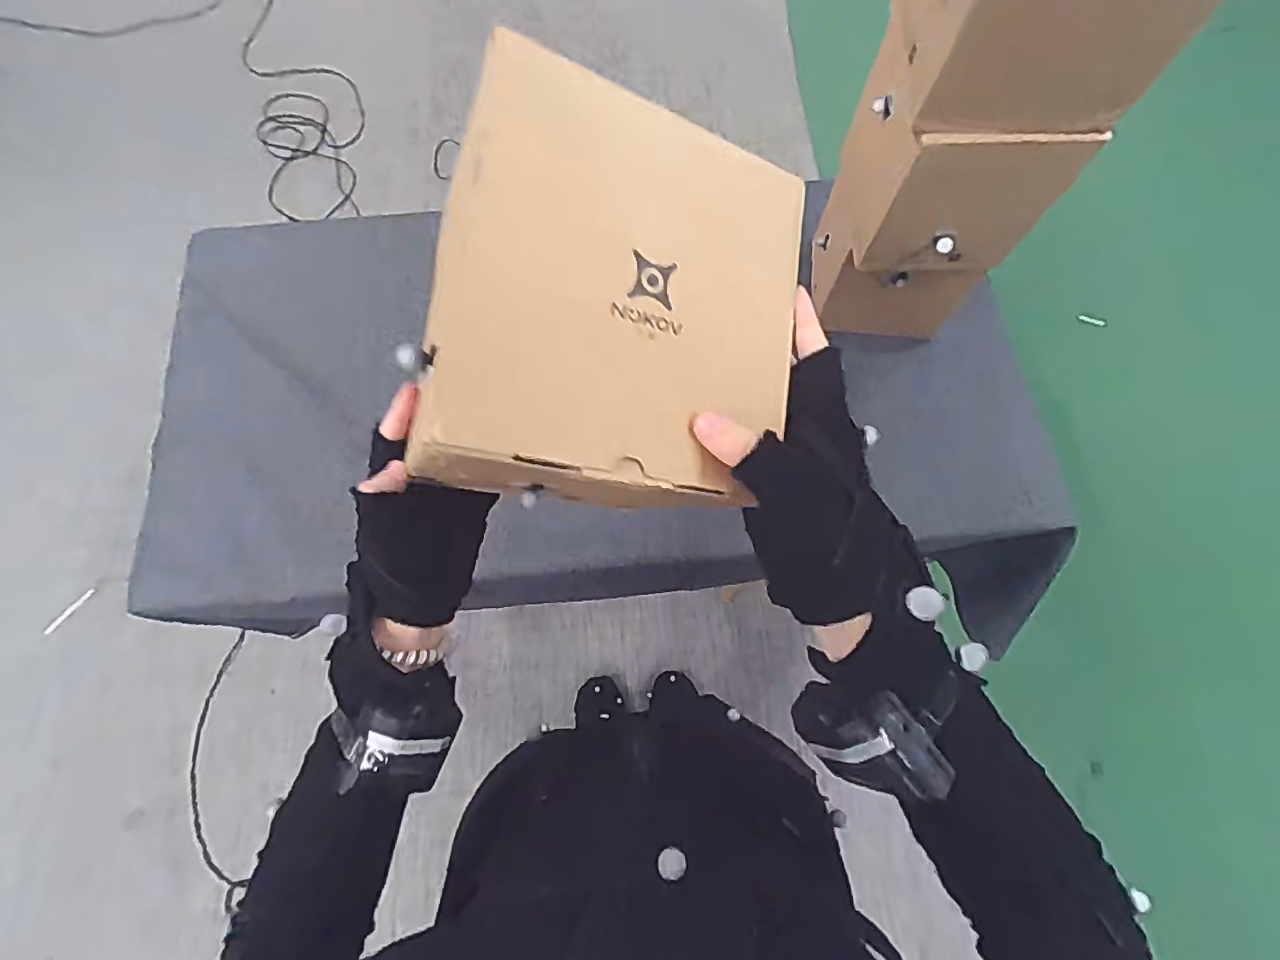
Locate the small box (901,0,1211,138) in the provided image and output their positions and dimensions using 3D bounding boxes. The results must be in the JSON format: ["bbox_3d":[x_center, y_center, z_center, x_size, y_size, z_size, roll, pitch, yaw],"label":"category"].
[{"bbox_3d":[0.322,-0.400,0.420,0.179,0.176,0.168,3,72,3],"label":"small box"}]

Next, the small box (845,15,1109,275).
[{"bbox_3d":[0.330,-0.345,0.574,0.168,0.176,0.179,0,72,2],"label":"small box"}]

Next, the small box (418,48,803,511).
[{"bbox_3d":[-0.028,-0.079,0.320,0.168,0.176,0.179,10,83,-26],"label":"small box"}]

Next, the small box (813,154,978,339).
[{"bbox_3d":[0.342,-0.309,0.734,0.179,0.176,0.168,6,72,3],"label":"small box"}]
